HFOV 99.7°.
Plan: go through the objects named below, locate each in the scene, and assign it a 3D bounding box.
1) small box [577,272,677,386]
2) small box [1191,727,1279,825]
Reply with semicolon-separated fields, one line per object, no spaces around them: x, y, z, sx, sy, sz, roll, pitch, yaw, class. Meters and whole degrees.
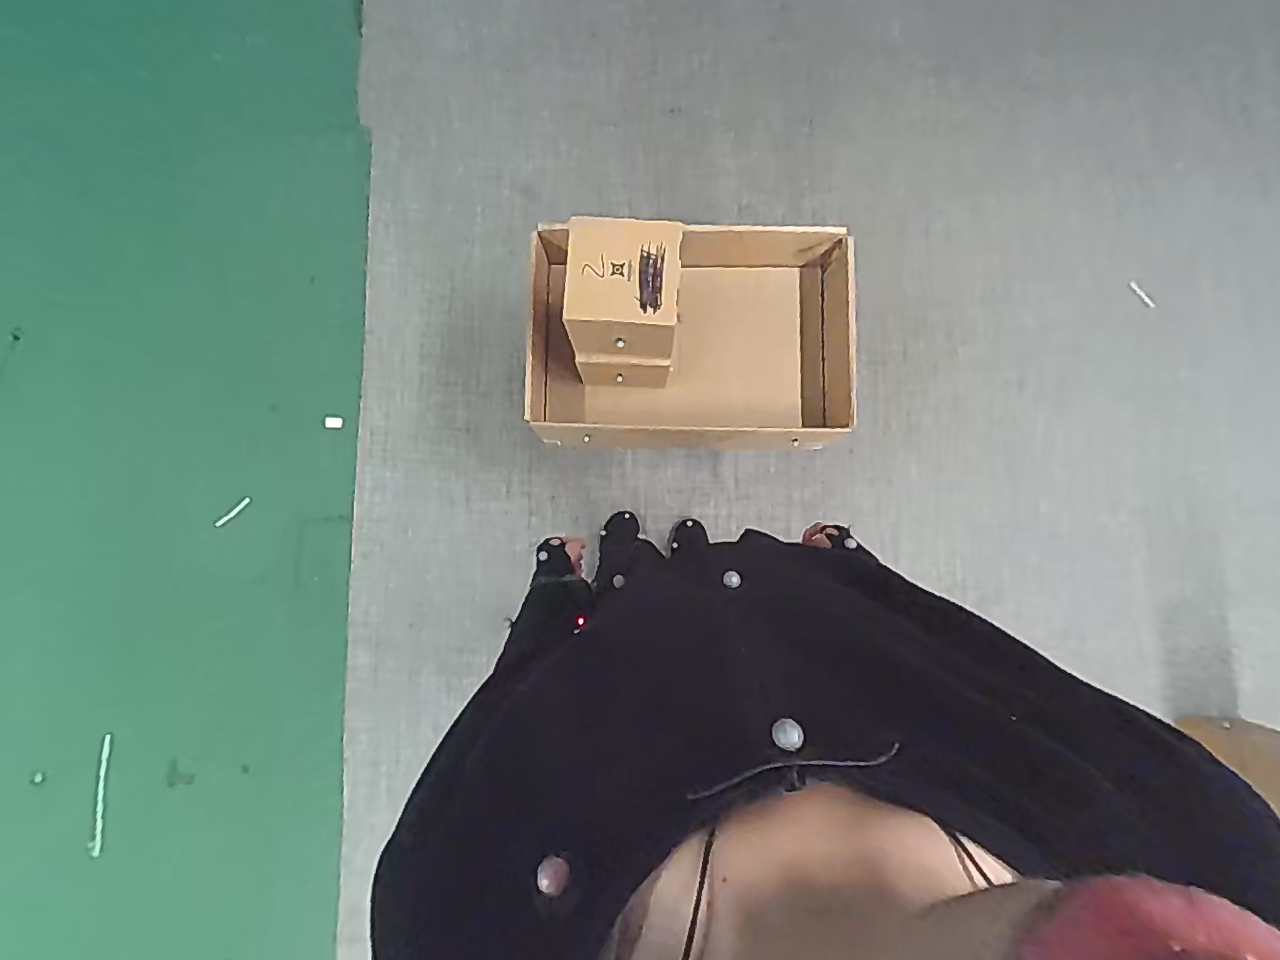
-0.023;-0.287;1.056;0.179;0.176;0.168;3;85;1;small box
1.556;0.737;1.366;0.168;0.176;0.179;-1;84;1;small box
